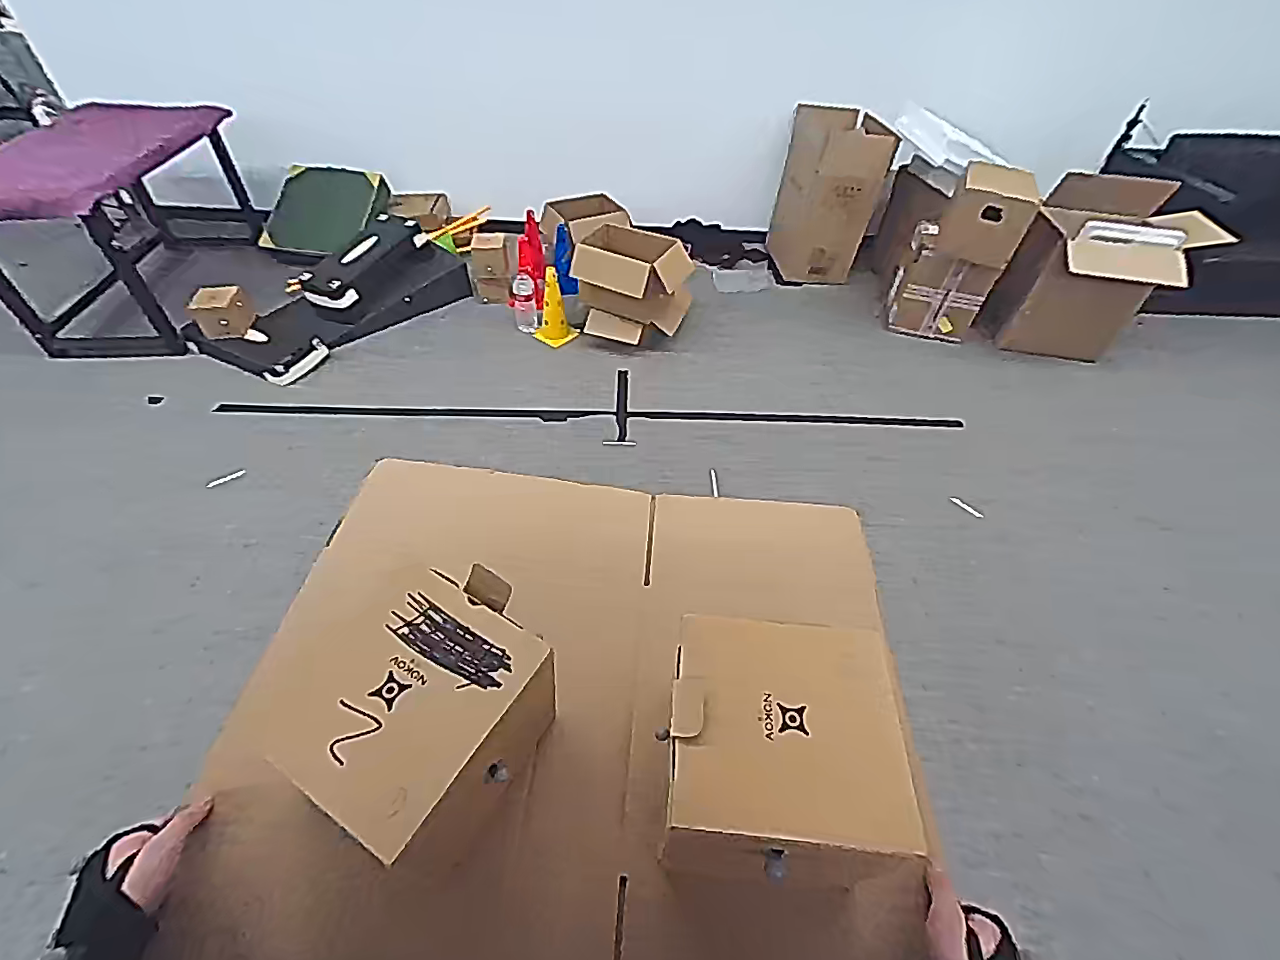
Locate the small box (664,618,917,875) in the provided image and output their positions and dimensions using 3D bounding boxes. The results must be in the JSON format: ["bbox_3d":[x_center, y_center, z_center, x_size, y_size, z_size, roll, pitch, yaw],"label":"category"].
[{"bbox_3d":[0.117,0.246,0.495,0.179,0.176,0.168,4,48,4],"label":"small box"}]
